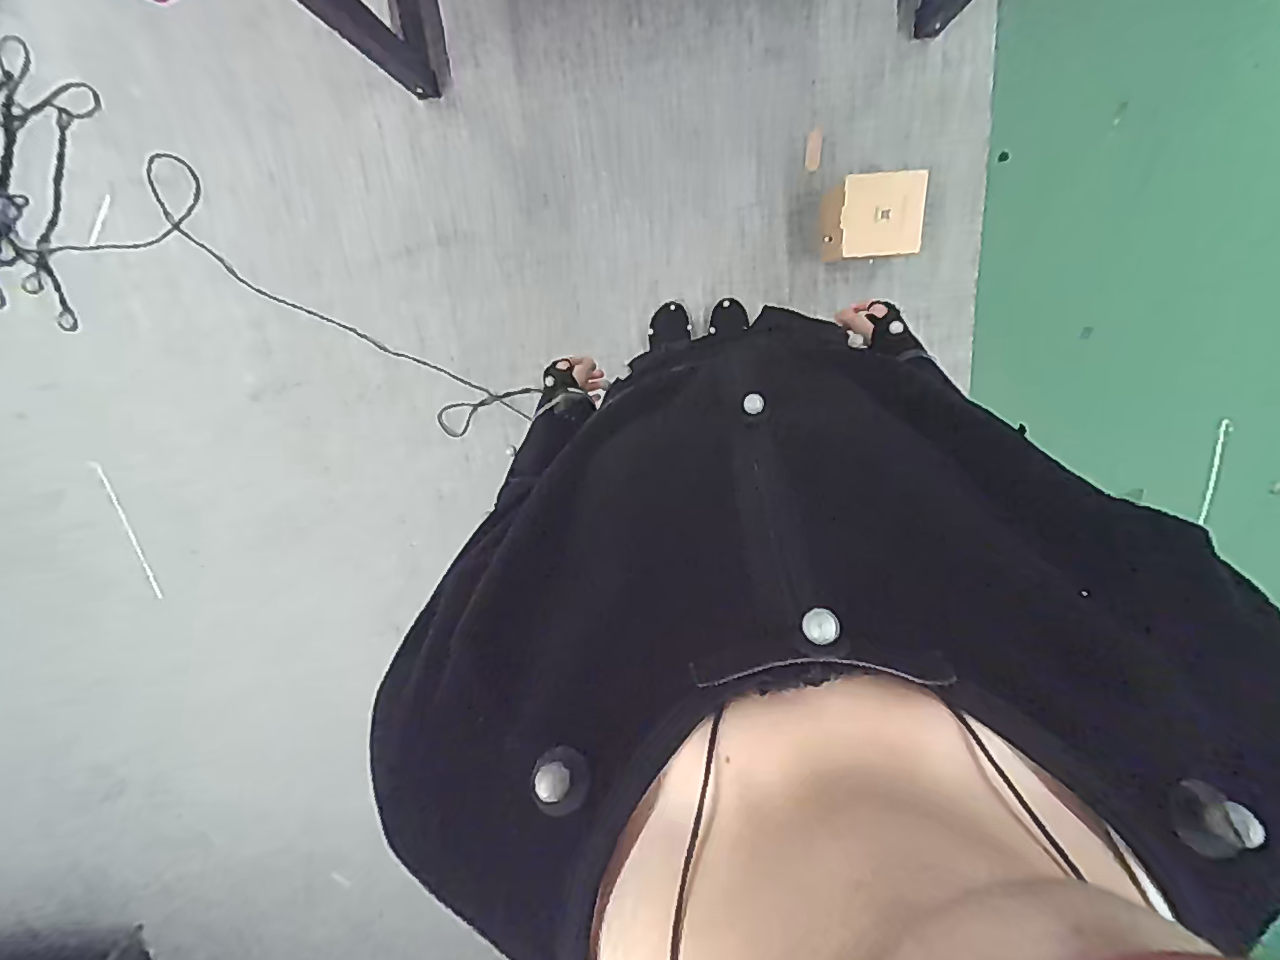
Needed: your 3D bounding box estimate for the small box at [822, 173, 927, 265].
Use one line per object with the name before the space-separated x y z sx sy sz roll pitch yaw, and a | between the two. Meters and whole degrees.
small box | 0.528 -0.592 1.244 0.179 0.176 0.168 -2 108 3
